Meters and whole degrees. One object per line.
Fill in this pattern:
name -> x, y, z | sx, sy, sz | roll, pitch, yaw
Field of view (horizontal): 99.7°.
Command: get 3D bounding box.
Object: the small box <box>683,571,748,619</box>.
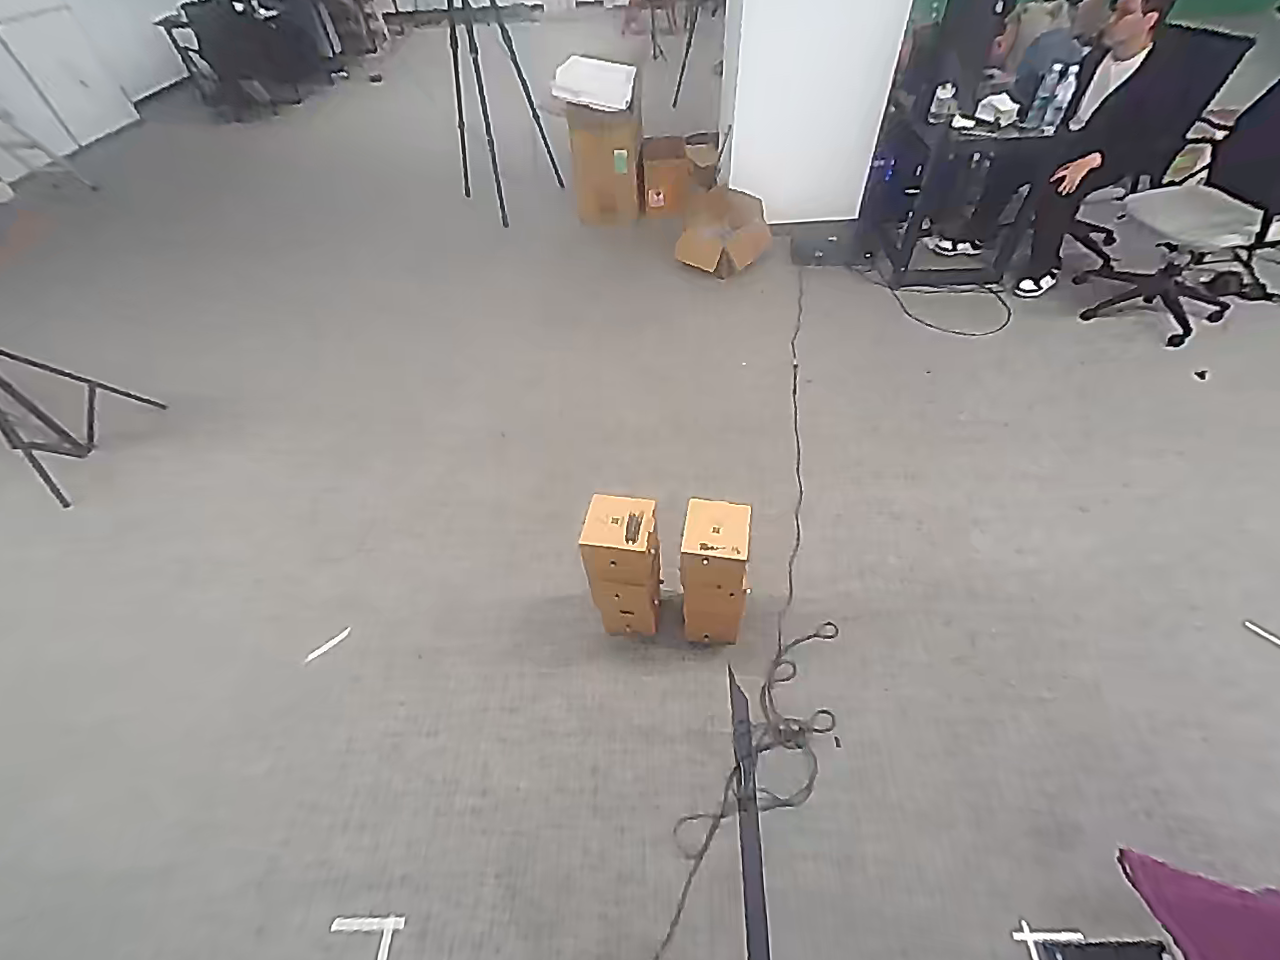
small box -> 0.215, 0.290, 1.565 | 0.179, 0.176, 0.168 | 1, 49, 5

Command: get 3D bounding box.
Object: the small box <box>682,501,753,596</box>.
small box -> 0.204, 0.183, 1.441 | 0.168, 0.176, 0.179 | 7, 48, 10

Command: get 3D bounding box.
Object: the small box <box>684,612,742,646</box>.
small box -> 0.223, 0.397, 1.687 | 0.168, 0.176, 0.179 | 0, 49, 4

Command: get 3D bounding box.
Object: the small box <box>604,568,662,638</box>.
small box -> -0.021, 0.377, 1.717 | 0.168, 0.176, 0.179 | 3, 49, 8

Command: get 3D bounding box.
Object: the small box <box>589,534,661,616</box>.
small box -> -0.037, 0.281, 1.584 | 0.179, 0.176, 0.168 | 6, 49, 10
